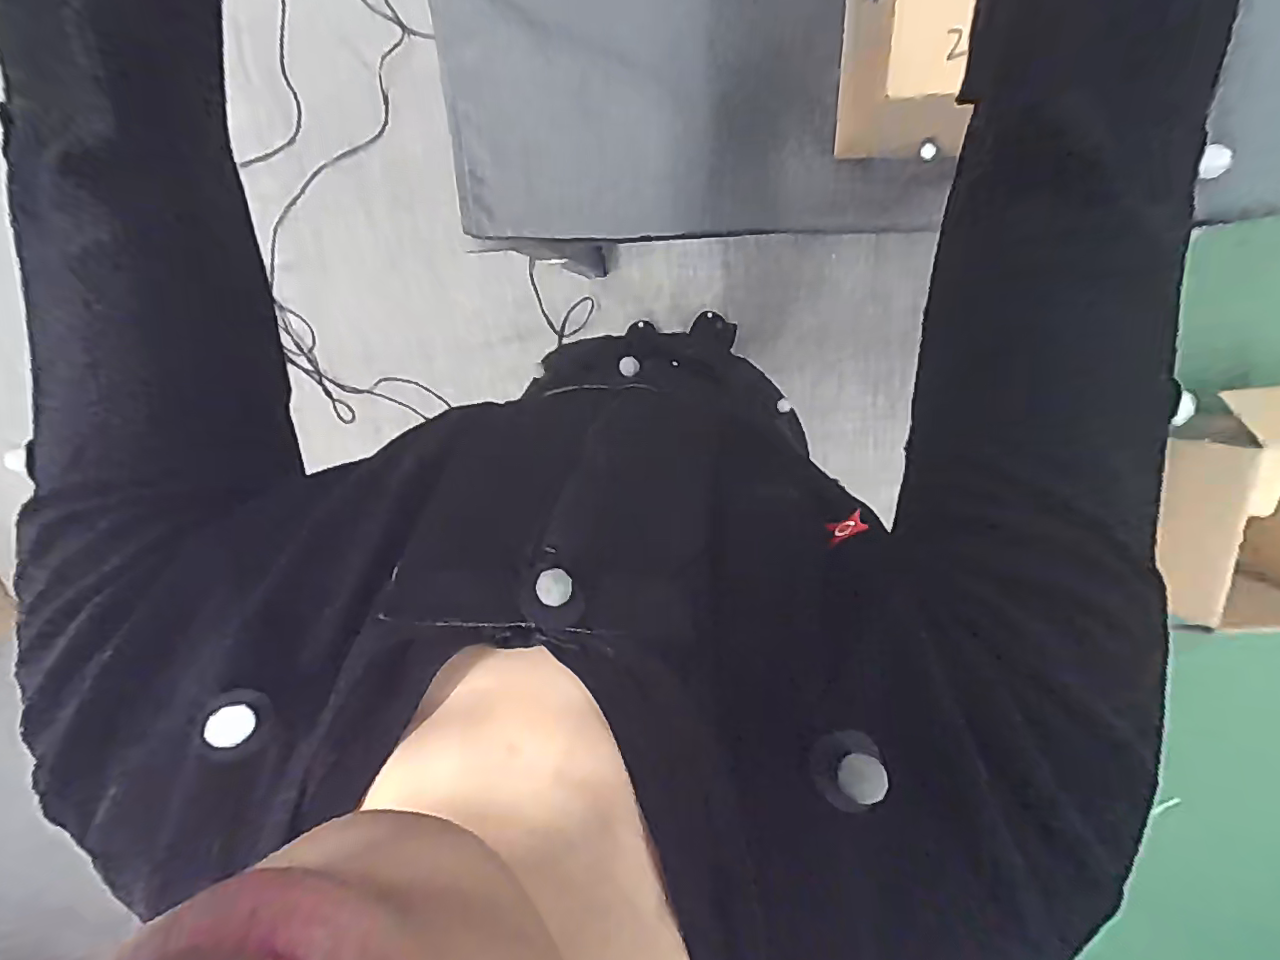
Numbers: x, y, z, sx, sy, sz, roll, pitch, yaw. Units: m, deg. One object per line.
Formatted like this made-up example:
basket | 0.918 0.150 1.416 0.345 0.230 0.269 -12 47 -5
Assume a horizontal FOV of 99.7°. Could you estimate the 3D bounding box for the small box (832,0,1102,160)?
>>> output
small box | 0.288 -0.422 0.504 0.168 0.176 0.179 1 106 4
